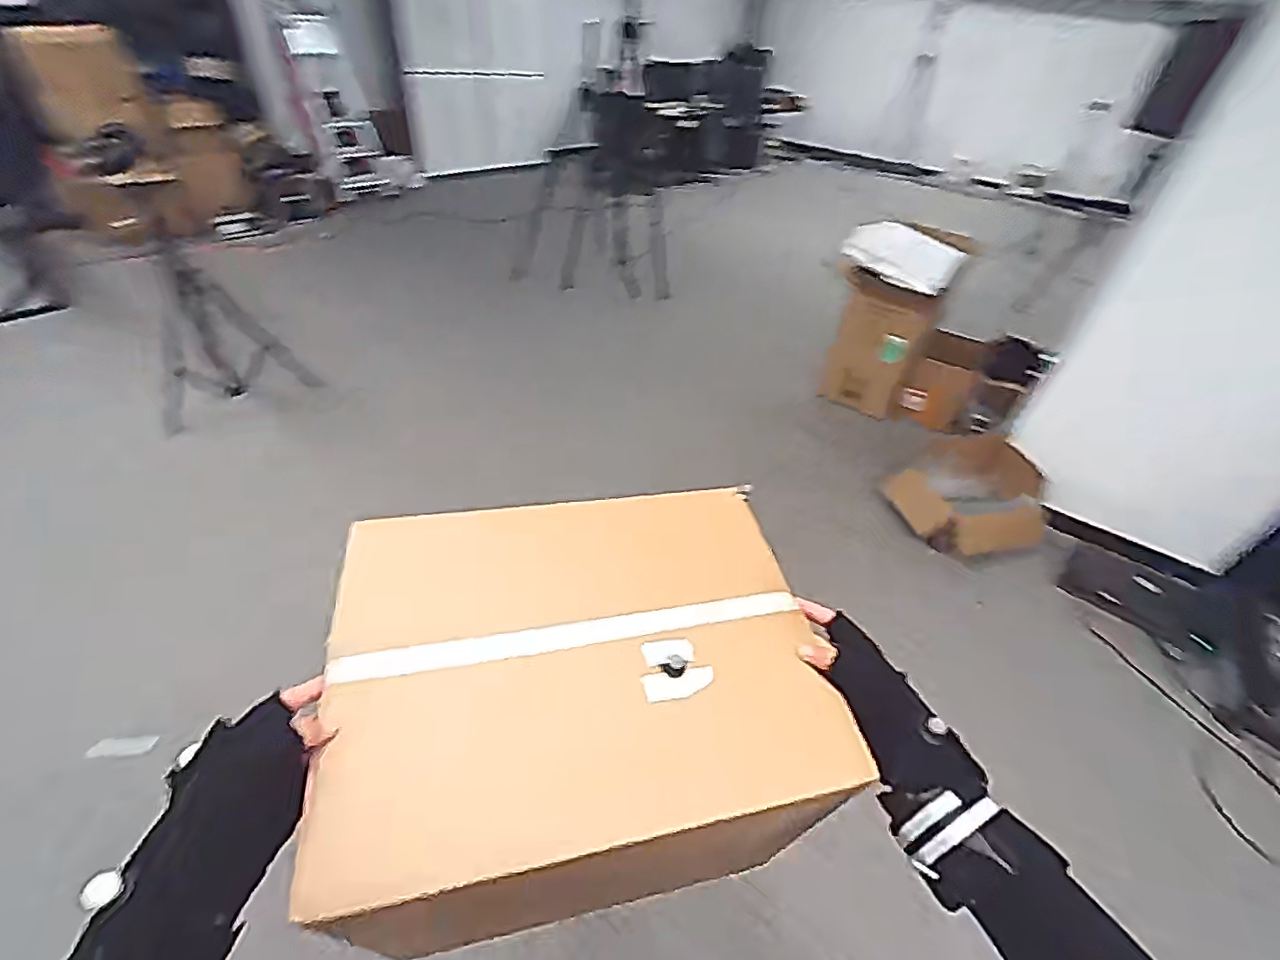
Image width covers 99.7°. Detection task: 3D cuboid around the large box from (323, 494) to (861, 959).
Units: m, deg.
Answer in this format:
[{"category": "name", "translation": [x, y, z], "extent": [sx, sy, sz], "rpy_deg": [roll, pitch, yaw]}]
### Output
[{"category": "large box", "translation": [-0.065, 0.247, 0.586], "extent": [0.408, 0.320, 0.320], "rpy_deg": [-5, 47, -15]}]
